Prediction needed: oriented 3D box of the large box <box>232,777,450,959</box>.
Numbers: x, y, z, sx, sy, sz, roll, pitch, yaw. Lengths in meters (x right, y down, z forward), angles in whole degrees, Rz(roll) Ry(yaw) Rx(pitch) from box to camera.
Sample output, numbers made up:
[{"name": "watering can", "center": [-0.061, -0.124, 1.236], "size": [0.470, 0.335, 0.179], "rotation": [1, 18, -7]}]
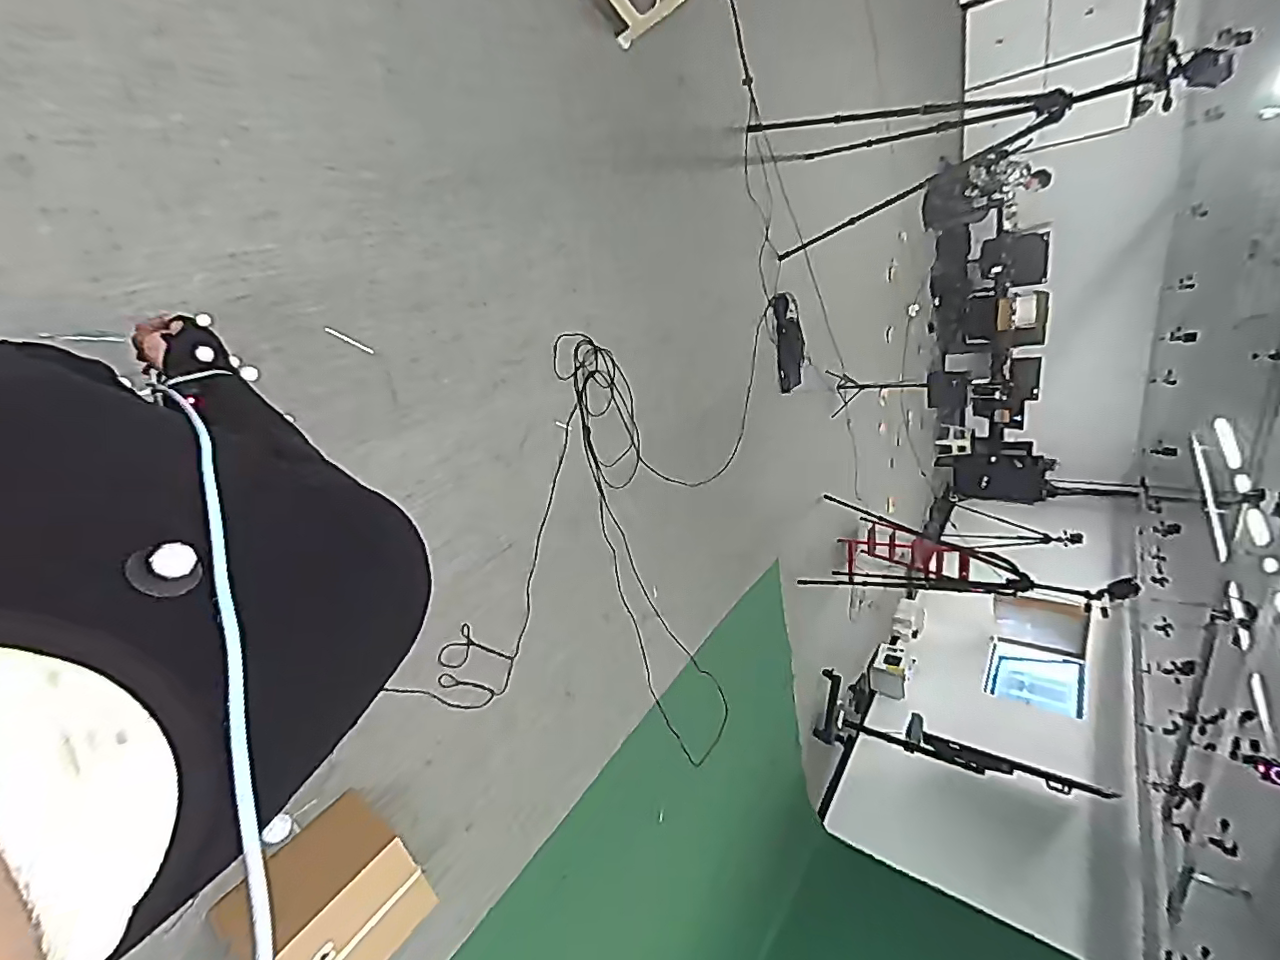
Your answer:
[{"name": "large box", "center": [-0.843, 1.172, 1.556], "size": [0.408, 0.320, 0.320], "rotation": [-38, 122, -41]}]
